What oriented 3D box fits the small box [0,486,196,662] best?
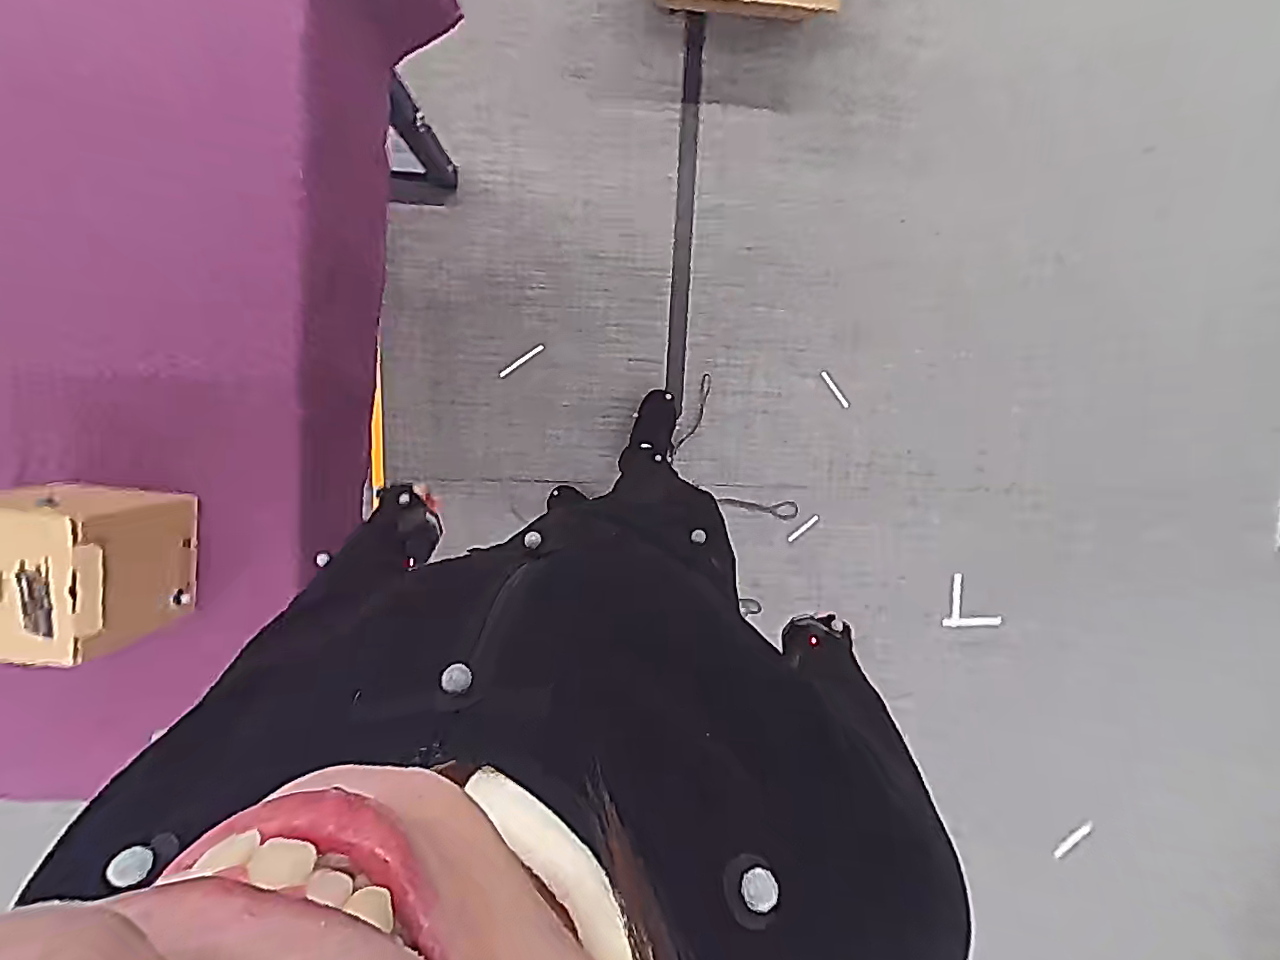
[{"bbox_3d":[-0.682,0.101,0.651,0.179,0.176,0.168,5,95,-2],"label":"small box"}]
